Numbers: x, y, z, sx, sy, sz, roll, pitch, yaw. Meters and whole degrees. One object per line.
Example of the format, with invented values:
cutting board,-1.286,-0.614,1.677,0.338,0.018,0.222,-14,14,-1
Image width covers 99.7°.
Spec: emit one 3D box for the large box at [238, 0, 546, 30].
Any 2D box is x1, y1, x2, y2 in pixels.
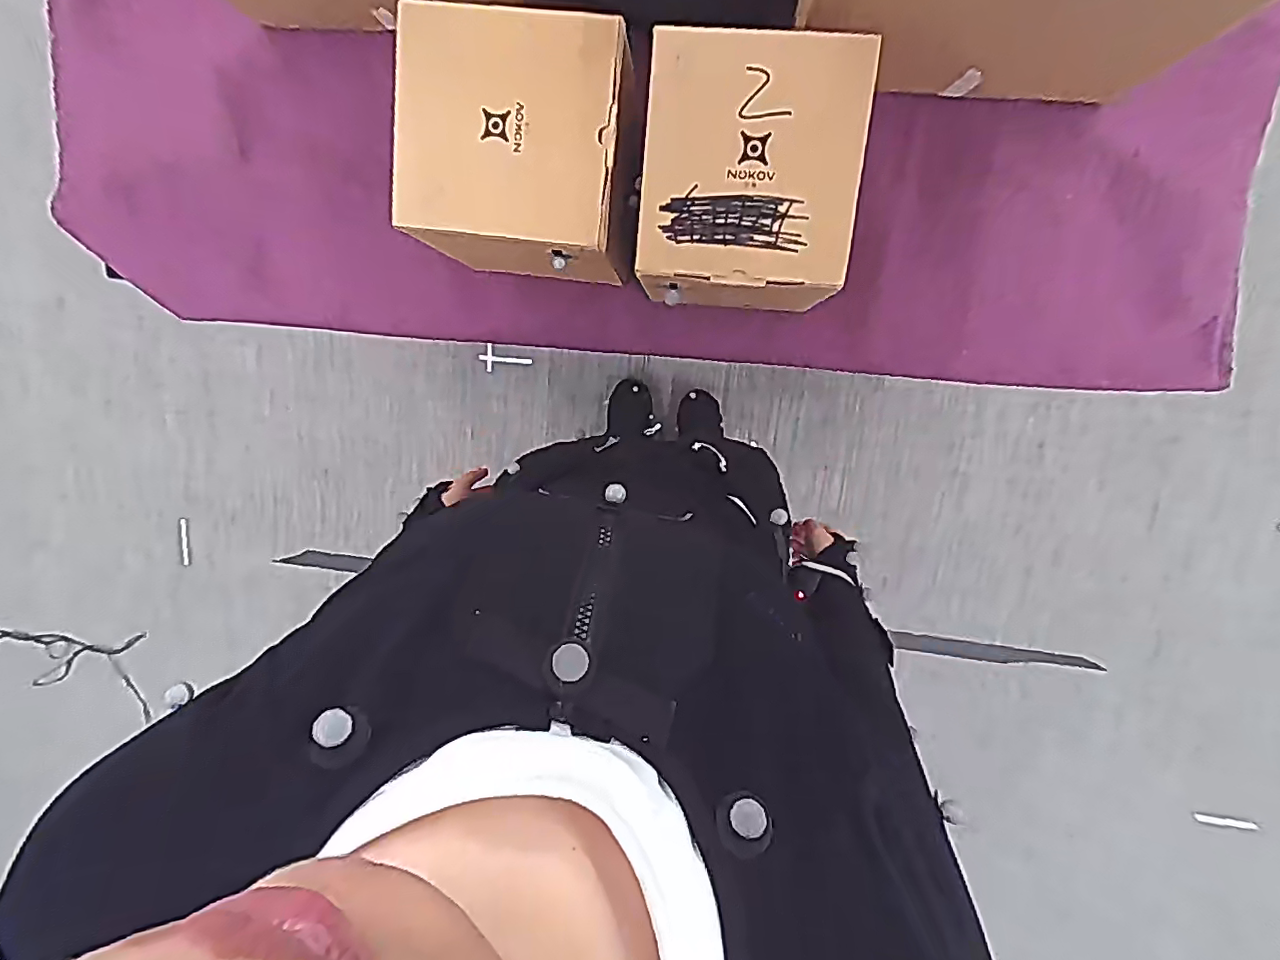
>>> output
large box,-0.250,-0.629,0.374,0.320,0.320,0.408,4,104,5
